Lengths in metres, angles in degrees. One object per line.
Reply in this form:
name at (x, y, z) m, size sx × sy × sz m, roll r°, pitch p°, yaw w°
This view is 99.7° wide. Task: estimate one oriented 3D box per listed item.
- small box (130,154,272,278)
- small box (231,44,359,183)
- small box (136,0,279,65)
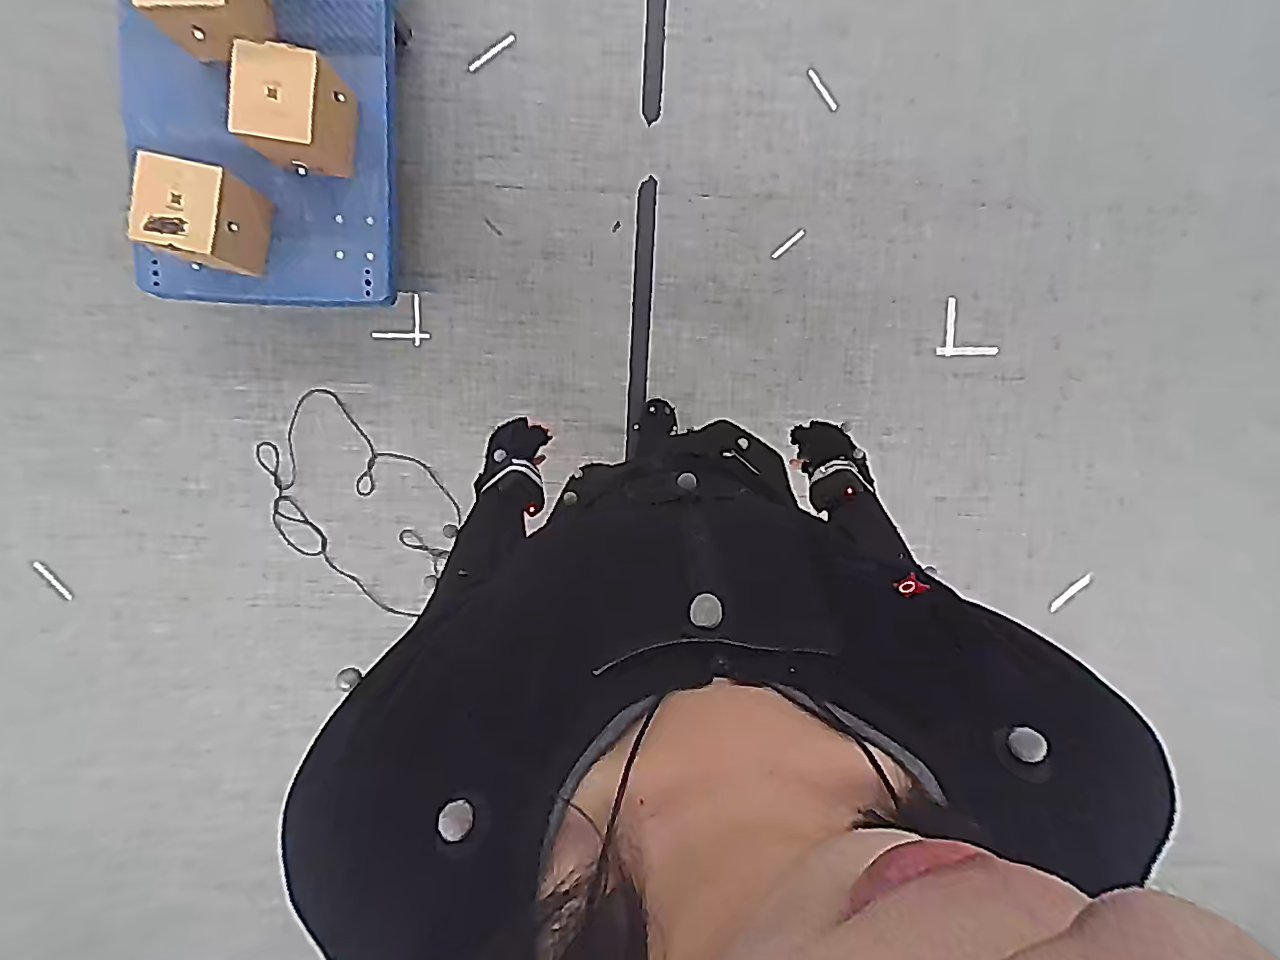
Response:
small box at (-0.929, -0.553, 1.159) m, size 0.168 × 0.176 × 0.179 m, roll 12°, pitch 94°, yaw -3°
small box at (-0.721, -0.766, 1.147) m, size 0.168 × 0.176 × 0.179 m, roll 8°, pitch 97°, yaw -1°
small box at (-0.889, -0.995, 1.116) m, size 0.179 × 0.176 × 0.168 m, roll -2°, pitch 97°, yaw -1°
